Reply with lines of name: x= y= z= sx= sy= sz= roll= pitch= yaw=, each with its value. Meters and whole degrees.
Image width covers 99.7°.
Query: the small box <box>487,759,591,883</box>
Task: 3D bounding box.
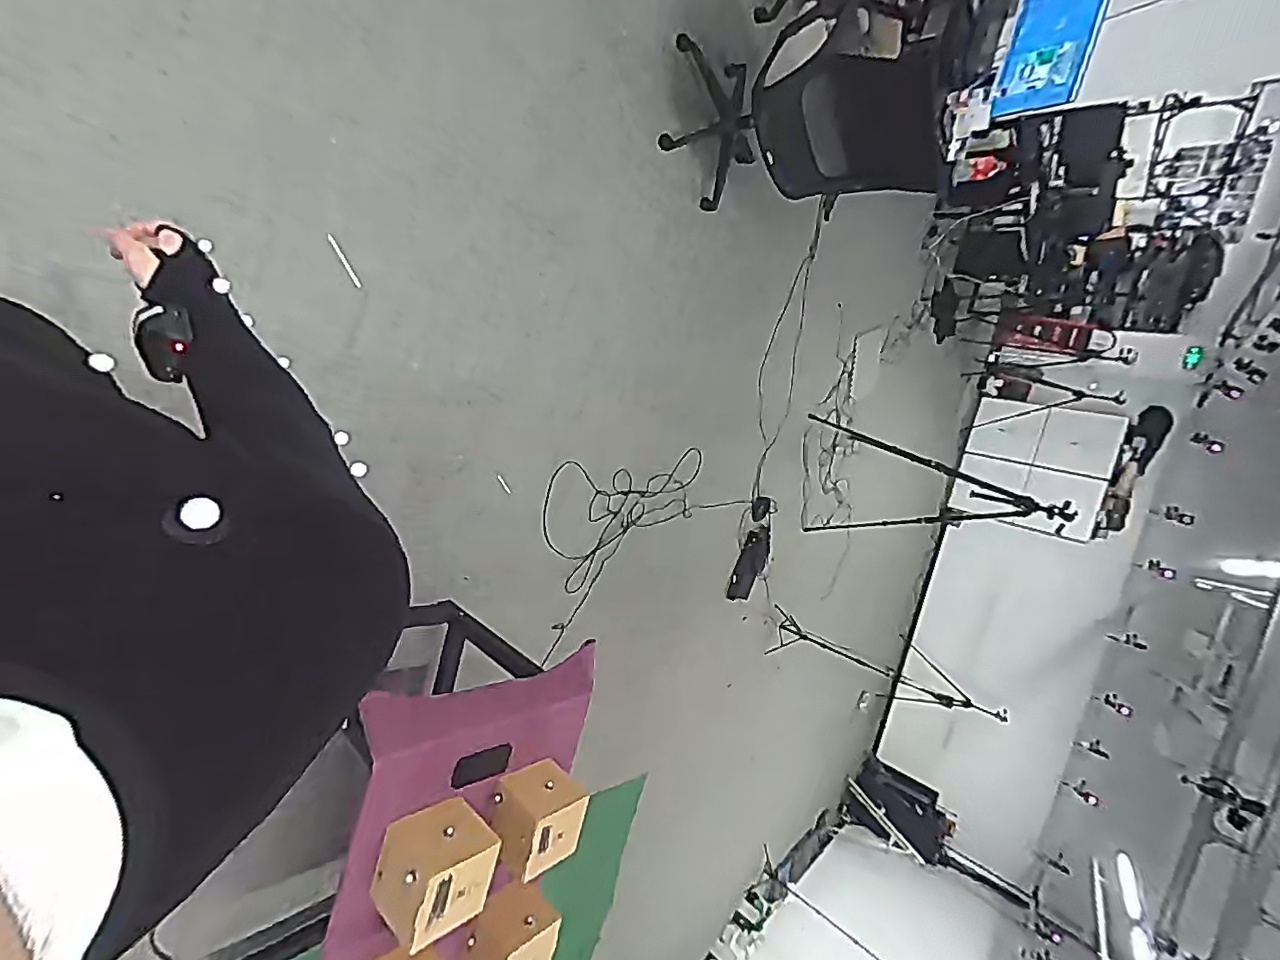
small box: x=-0.256 y=0.841 z=1.355 sx=0.179 sy=0.176 sz=0.168 roll=8 pitch=98 yaw=-52

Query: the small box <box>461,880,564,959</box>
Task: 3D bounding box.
small box: x=-0.332 y=1.195 z=1.407 sx=0.179 sy=0.176 sz=0.168 roll=8 pitch=97 yaw=-51

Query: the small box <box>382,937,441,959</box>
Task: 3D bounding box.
small box: x=-0.517 y=1.155 z=1.165 sx=0.179 sy=0.176 sz=0.168 roll=11 pitch=96 yaw=-53
